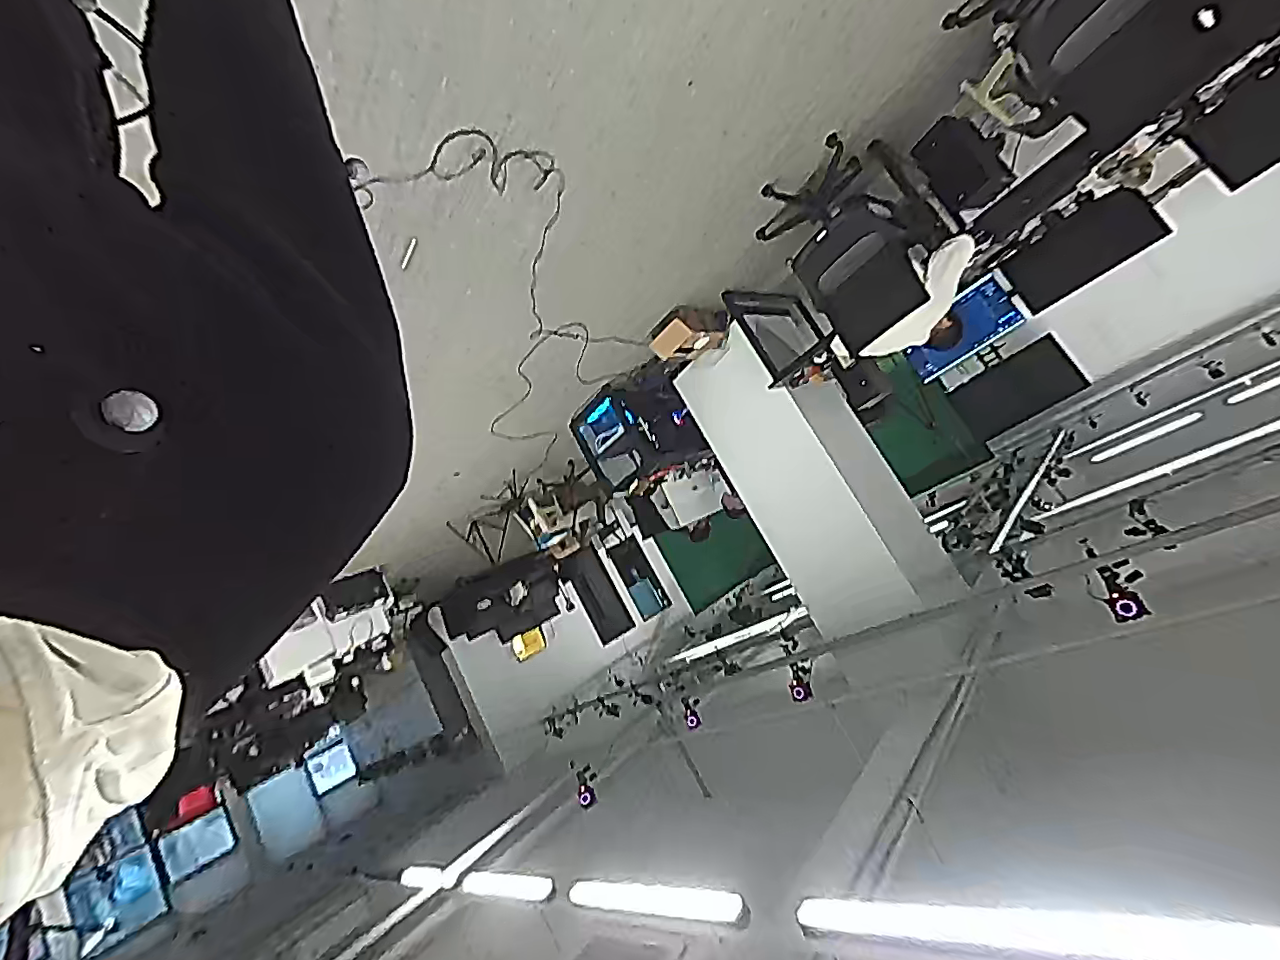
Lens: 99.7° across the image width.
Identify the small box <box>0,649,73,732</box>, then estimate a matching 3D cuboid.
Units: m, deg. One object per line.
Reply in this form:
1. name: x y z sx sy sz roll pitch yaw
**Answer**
1. small box: -1.902 0.648 1.664 0.179 0.176 0.168 -18 166 -44
